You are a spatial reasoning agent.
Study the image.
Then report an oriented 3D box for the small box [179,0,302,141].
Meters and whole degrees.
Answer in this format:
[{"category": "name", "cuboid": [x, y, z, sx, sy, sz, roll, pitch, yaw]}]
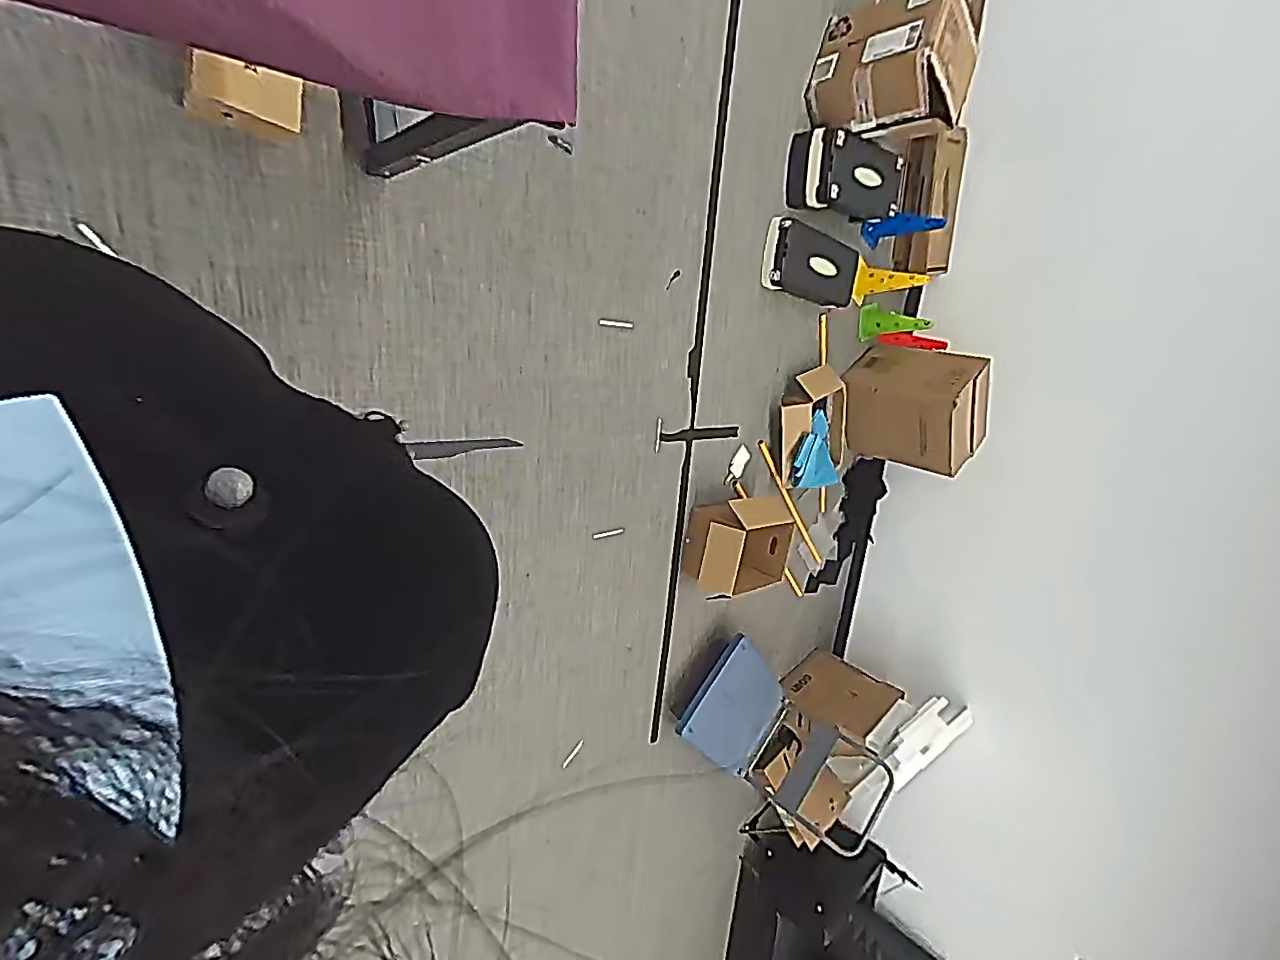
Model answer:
[{"category": "small box", "cuboid": [-0.768, -0.785, 1.036, 0.168, 0.176, 0.179, 2, 103, -45]}]
